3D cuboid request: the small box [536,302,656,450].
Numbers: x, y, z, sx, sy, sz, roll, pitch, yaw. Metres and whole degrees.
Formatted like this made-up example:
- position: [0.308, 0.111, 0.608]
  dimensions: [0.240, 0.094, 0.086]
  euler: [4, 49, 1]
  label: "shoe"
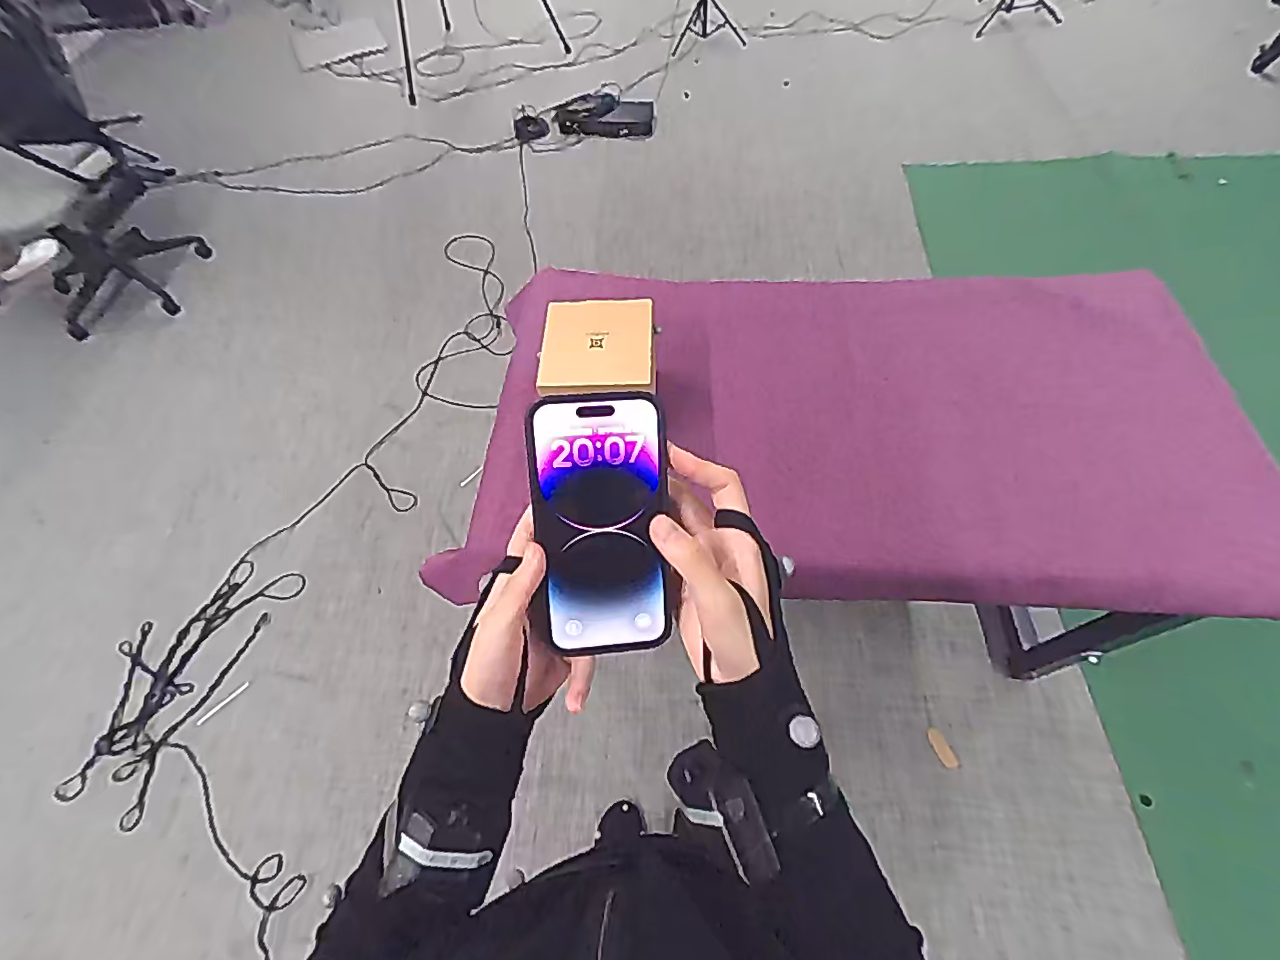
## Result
- position: [-0.059, -0.160, 0.873]
  dimensions: [0.168, 0.176, 0.179]
  euler: [-1, 58, 4]
  label: "small box"
